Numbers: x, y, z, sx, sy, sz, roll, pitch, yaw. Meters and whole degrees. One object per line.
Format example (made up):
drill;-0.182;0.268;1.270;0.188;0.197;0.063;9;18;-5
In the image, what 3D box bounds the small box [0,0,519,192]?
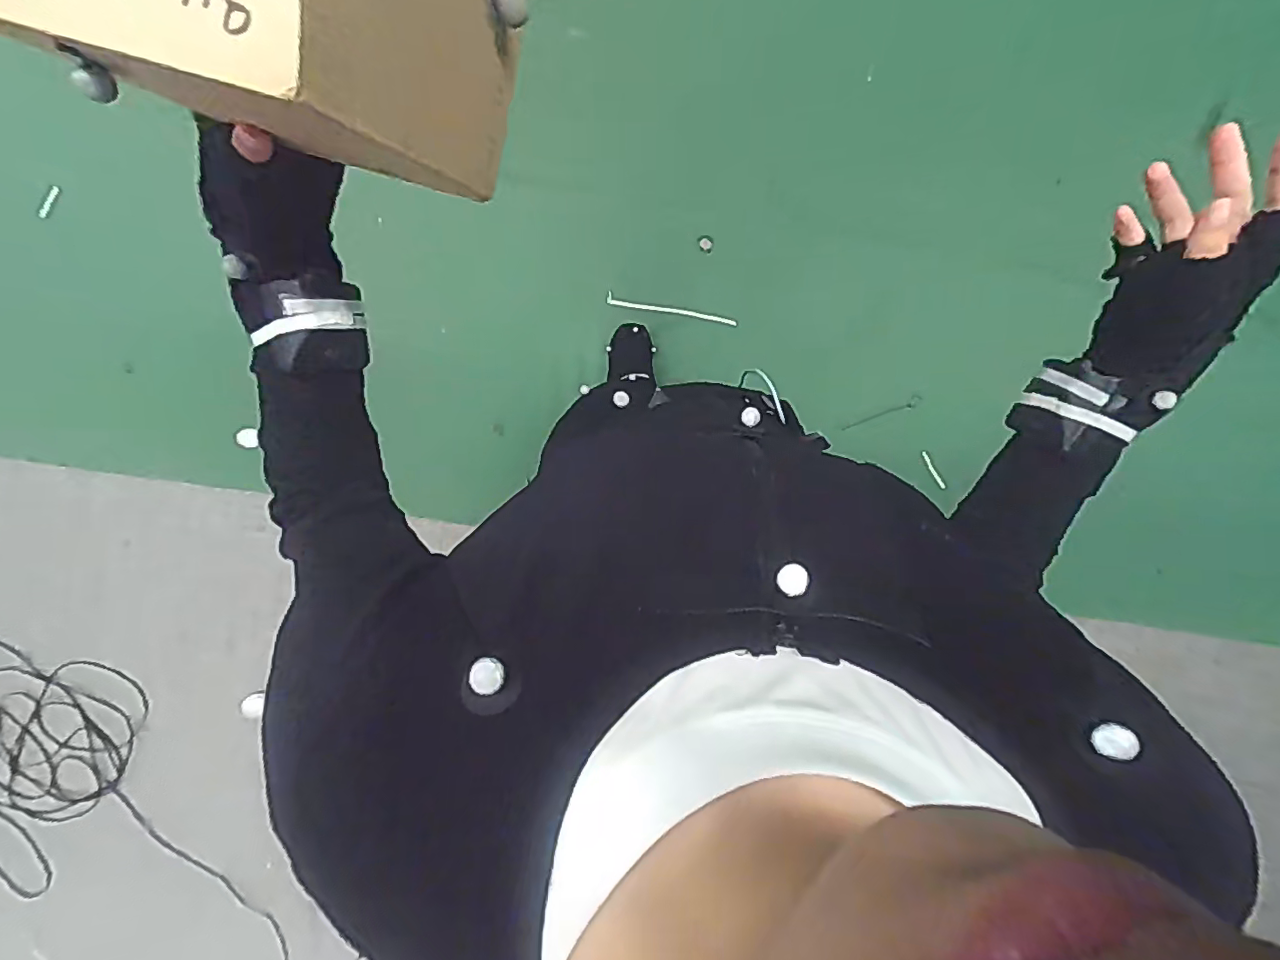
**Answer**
small box;-0.158;-0.250;0.225;0.168;0.176;0.179;17;108;3
